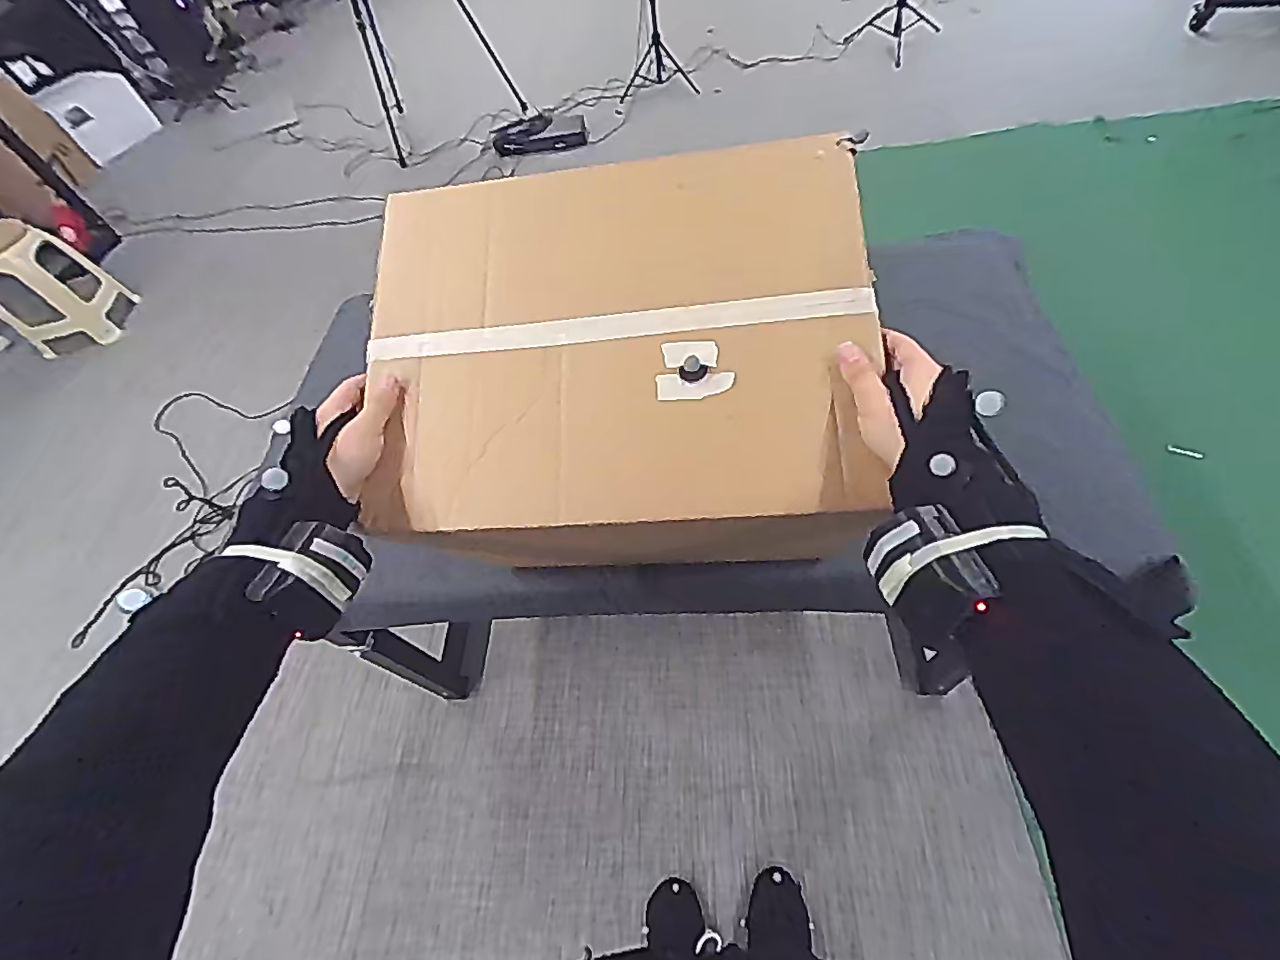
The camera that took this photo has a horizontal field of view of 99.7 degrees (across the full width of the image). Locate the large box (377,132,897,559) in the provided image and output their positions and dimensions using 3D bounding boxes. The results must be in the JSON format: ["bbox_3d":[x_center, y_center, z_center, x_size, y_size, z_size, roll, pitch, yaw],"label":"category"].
[{"bbox_3d":[-0.001,-0.095,0.584,0.408,0.320,0.320,-4,77,7],"label":"large box"}]
